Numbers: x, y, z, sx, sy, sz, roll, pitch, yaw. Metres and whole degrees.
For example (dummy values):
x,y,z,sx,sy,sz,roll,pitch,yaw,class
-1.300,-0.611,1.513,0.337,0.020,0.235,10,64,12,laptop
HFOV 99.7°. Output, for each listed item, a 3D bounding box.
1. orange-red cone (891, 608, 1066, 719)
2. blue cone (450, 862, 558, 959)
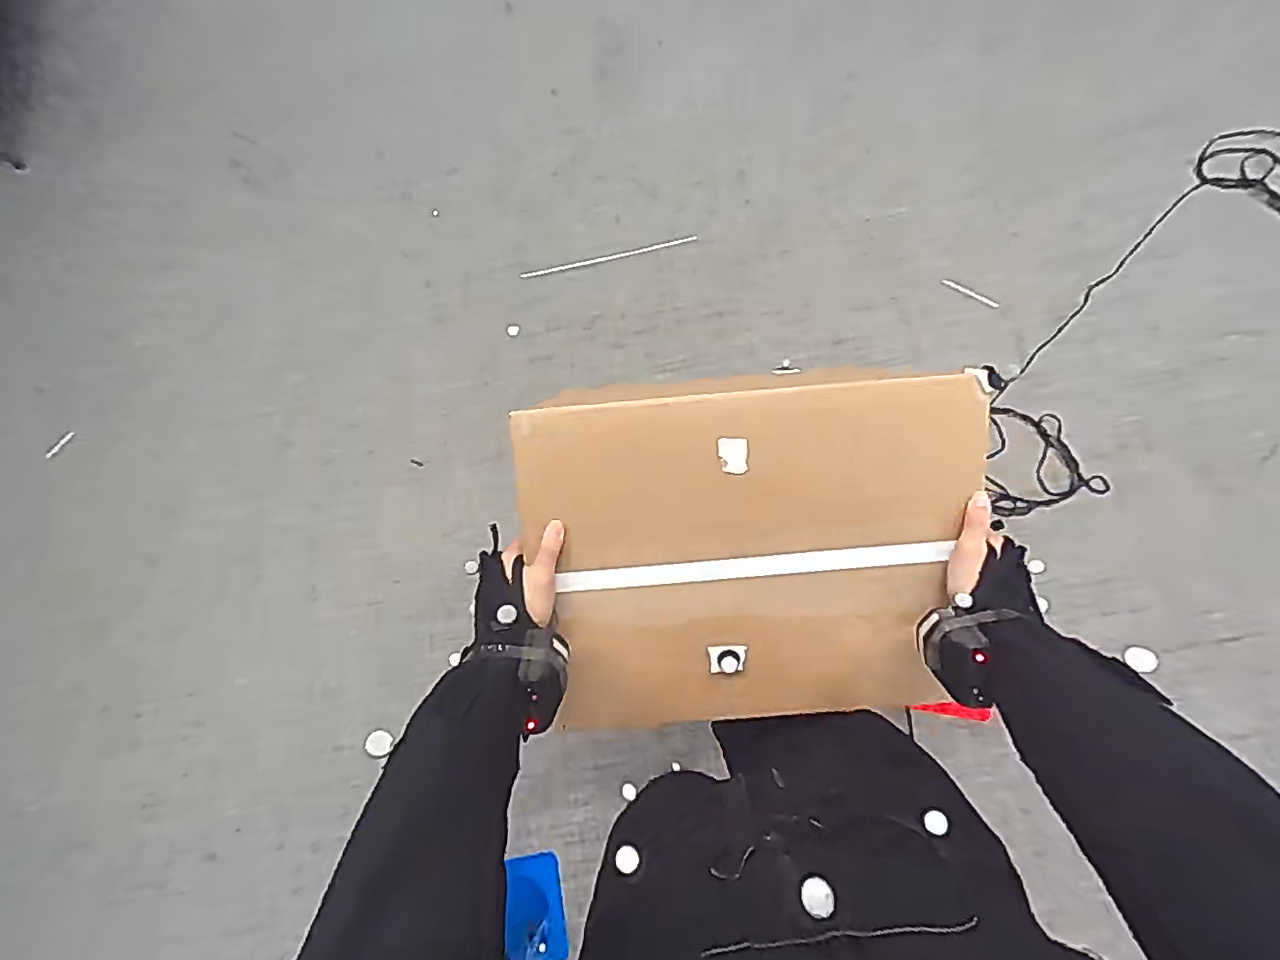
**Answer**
x,y,z,sx,sy,sz,roll,pitch,yaw,class
0.615,0.338,0.952,0.199,0.360,0.198,9,78,7,orange-red cone
-0.281,0.842,0.934,0.192,0.380,0.193,-10,75,4,blue cone
